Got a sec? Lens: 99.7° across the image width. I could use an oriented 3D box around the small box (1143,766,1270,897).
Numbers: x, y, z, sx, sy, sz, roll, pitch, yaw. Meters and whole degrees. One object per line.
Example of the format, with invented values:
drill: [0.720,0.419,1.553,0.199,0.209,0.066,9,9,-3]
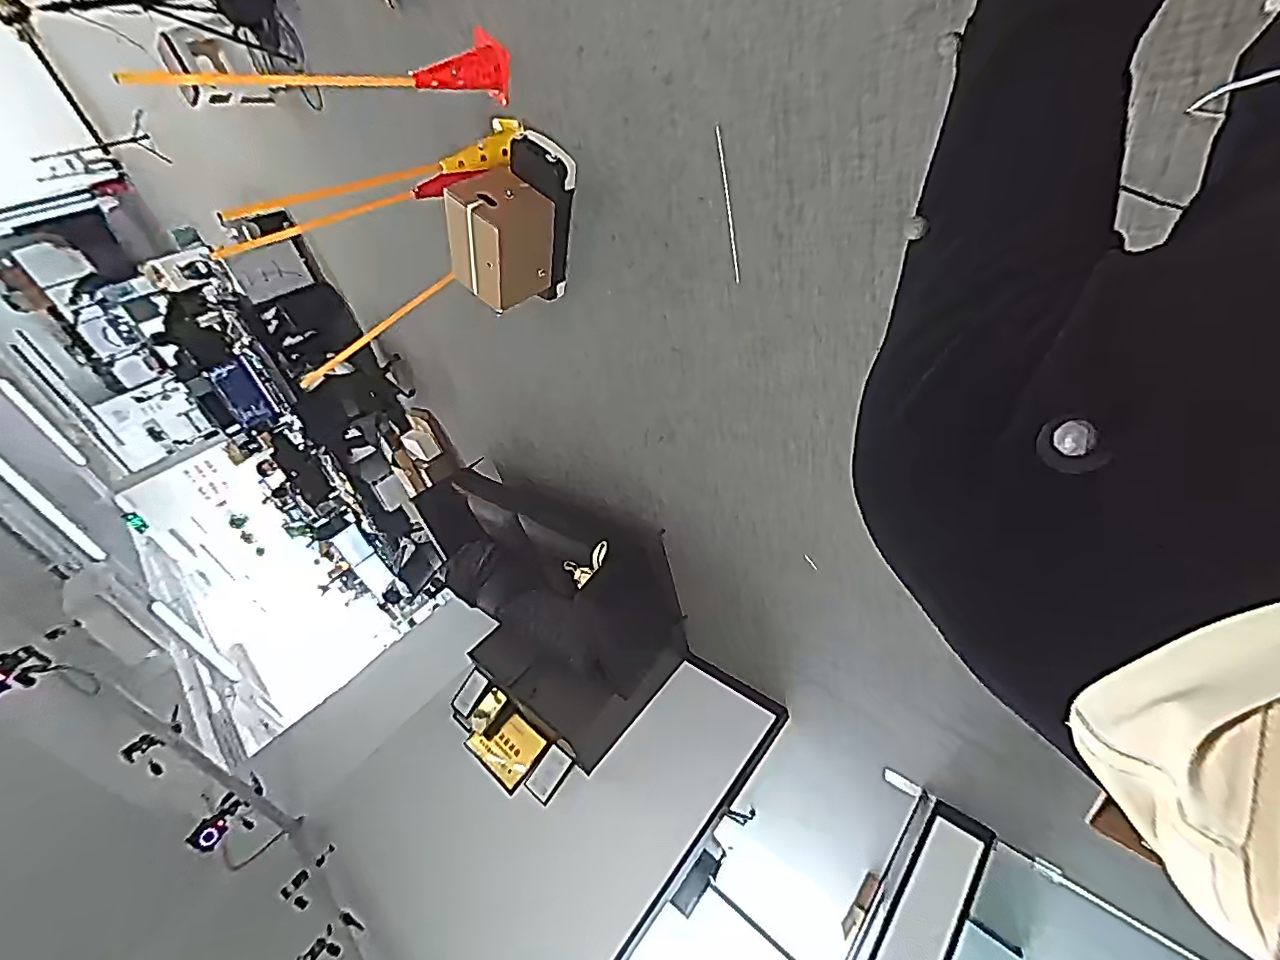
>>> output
small box: [1.367,0.842,1.306,0.168,0.176,0.179,23,139,39]
